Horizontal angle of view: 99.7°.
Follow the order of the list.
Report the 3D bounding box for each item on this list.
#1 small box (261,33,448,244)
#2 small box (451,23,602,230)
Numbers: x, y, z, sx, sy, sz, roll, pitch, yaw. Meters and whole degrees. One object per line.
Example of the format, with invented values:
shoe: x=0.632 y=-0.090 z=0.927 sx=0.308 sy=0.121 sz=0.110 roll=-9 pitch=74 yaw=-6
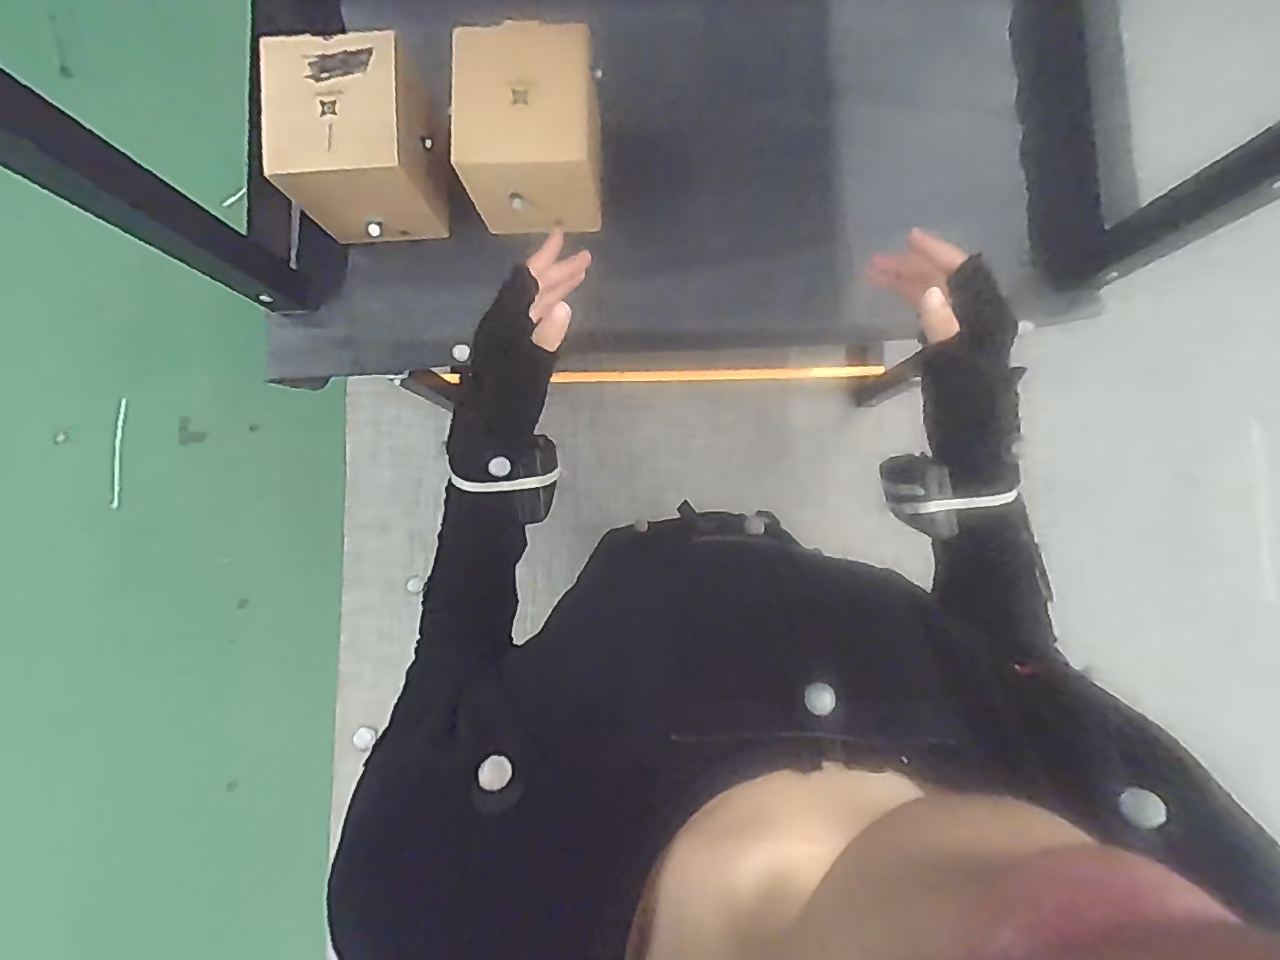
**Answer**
small box: x=-0.368 y=-0.445 z=0.726 sx=0.168 sy=0.176 sz=0.179 roll=-3 pitch=85 yaw=1
small box: x=-0.141 y=-0.455 z=0.724 sx=0.168 sy=0.176 sz=0.179 roll=-1 pitch=85 yaw=1
